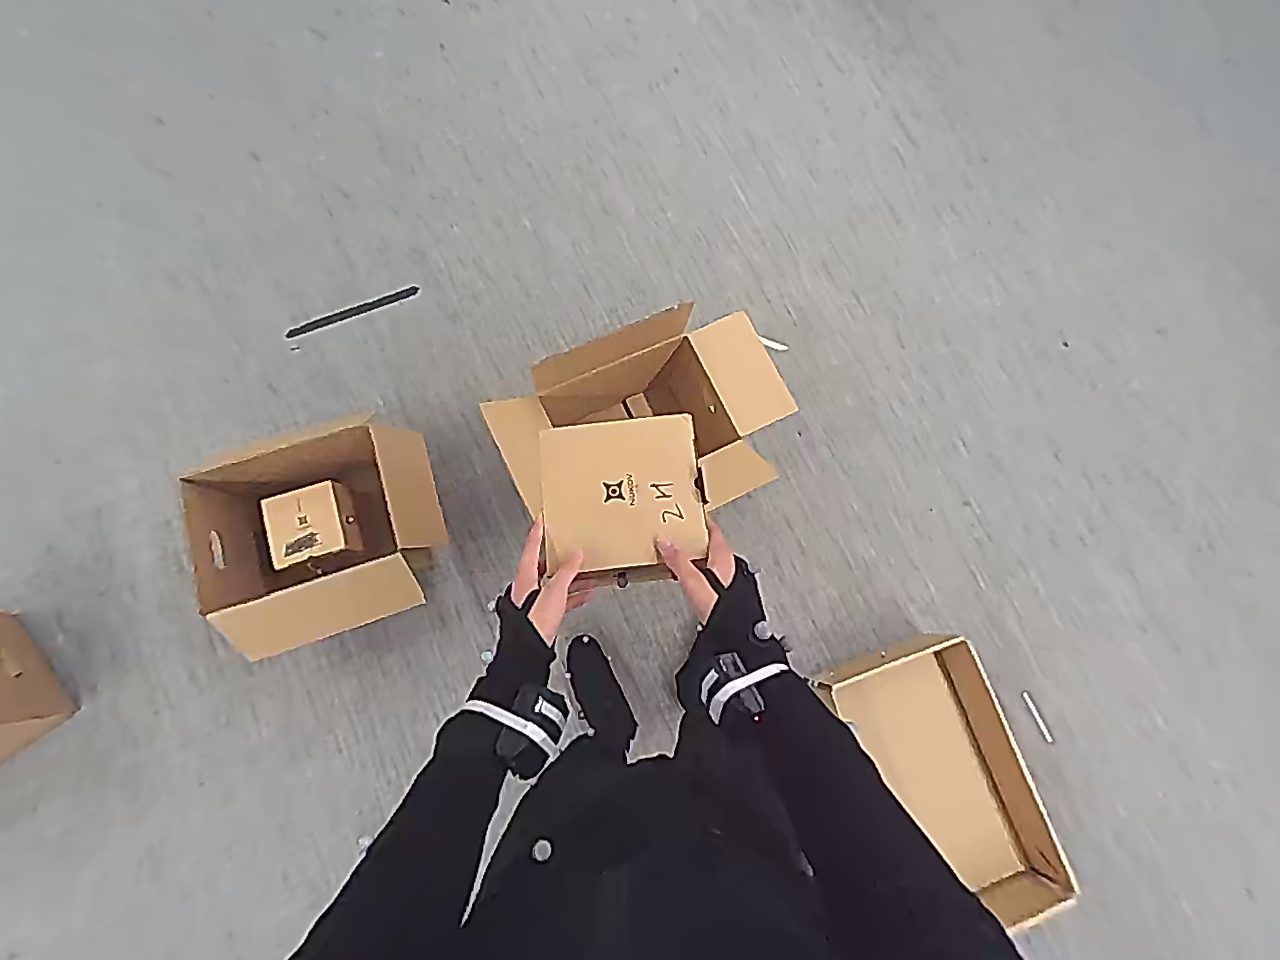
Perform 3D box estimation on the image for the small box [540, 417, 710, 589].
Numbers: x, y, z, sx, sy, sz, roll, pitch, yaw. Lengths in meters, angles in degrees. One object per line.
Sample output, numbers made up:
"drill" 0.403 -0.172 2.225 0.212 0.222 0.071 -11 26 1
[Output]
"small box" -0.018 0.037 0.660 0.179 0.176 0.168 -6 74 -1
